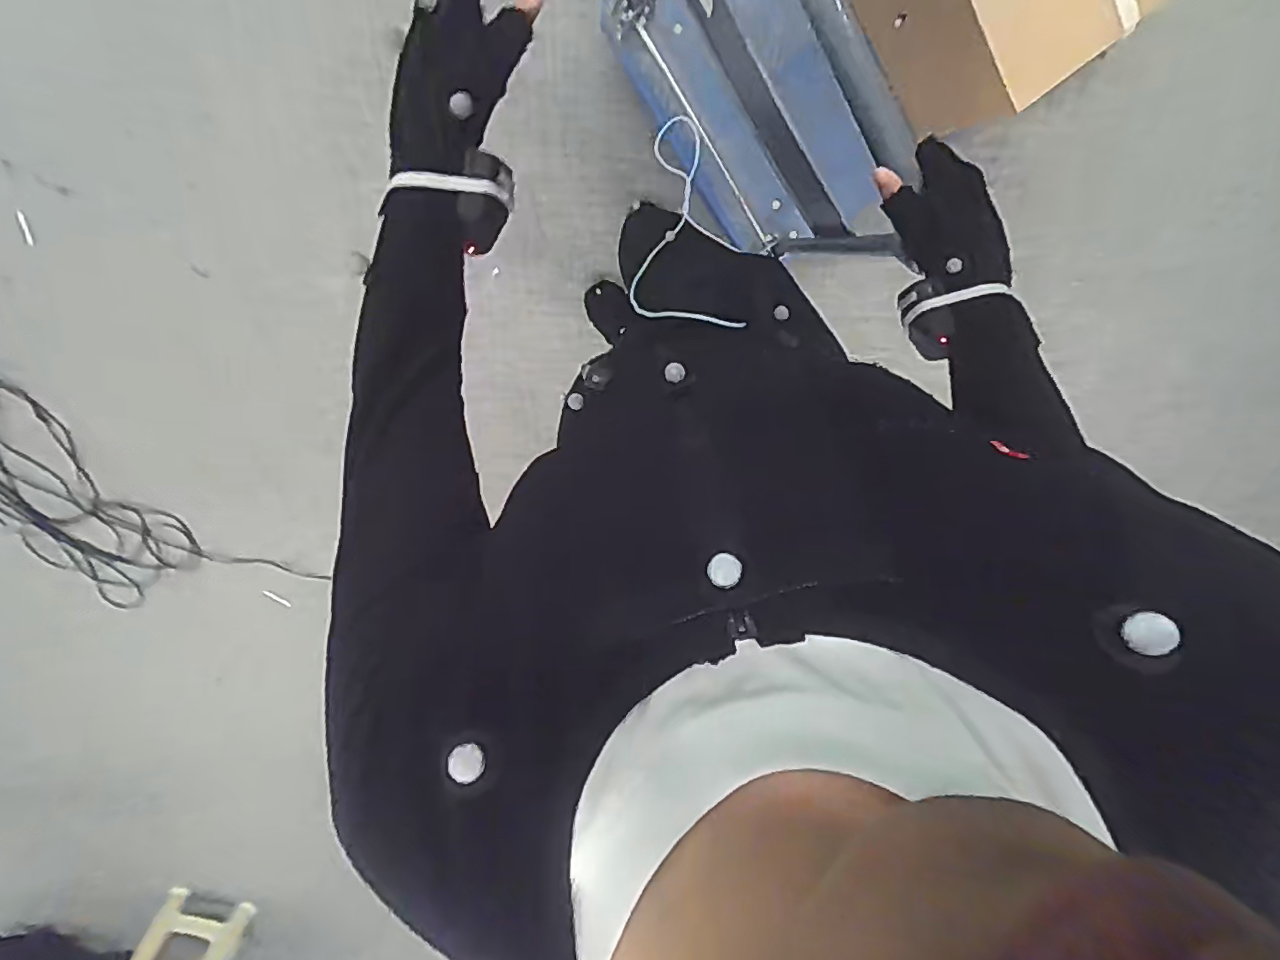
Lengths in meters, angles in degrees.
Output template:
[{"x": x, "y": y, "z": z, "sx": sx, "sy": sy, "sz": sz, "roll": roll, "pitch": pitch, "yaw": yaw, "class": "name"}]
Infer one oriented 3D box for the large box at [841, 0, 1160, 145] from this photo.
[{"x": 0.532, "y": -0.811, "z": 0.818, "sx": 0.320, "sy": 0.320, "sz": 0.408, "roll": -36, "pitch": 109, "yaw": 15, "class": "large box"}]
